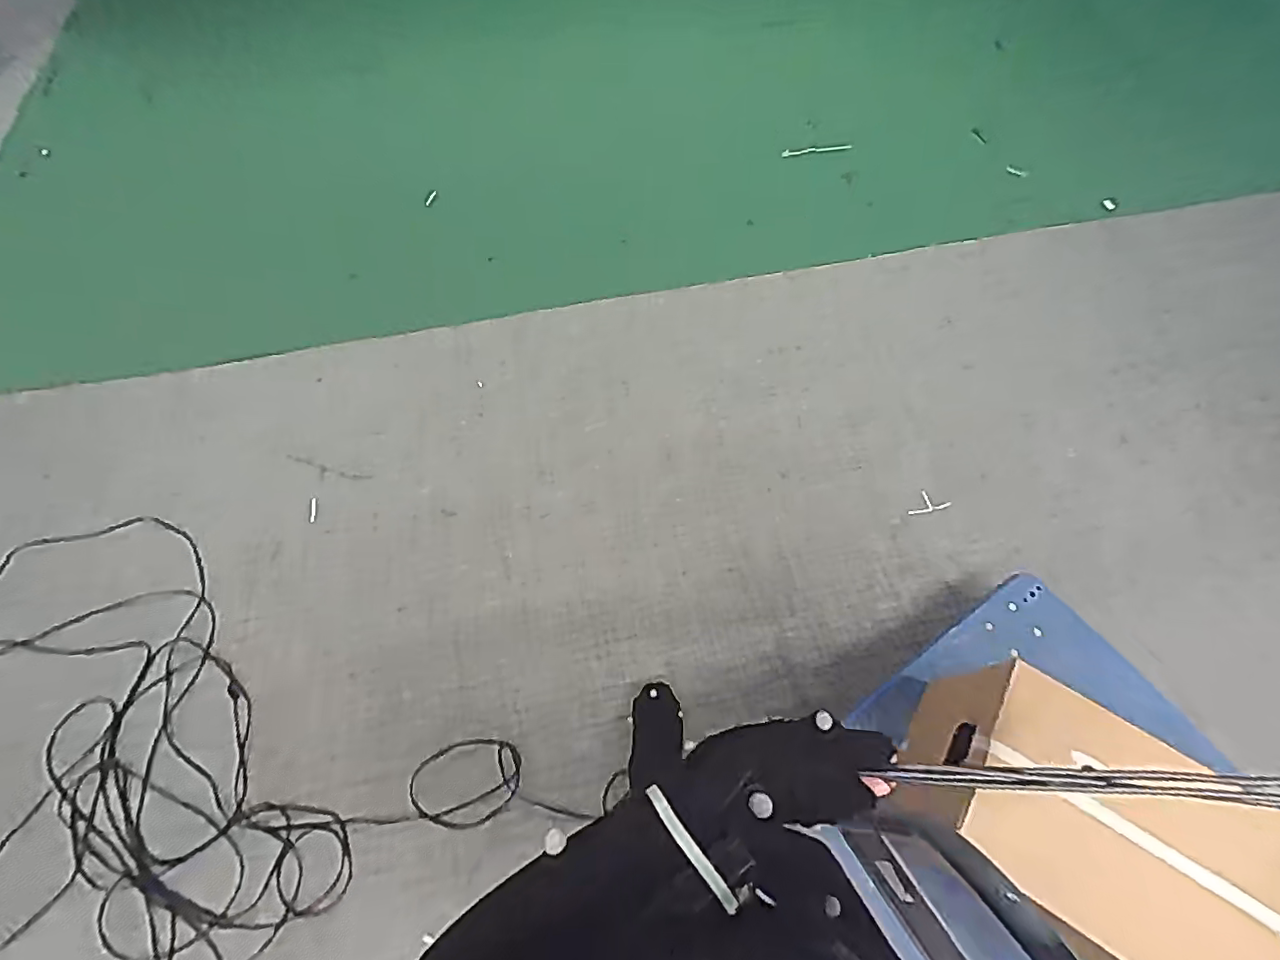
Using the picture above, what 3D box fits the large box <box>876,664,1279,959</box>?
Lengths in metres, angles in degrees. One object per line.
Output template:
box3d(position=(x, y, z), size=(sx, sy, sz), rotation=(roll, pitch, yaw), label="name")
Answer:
box3d(position=(0.701, 0.580, 0.924), size=(0.408, 0.320, 0.320), rotation=(31, 66, 16), label="large box")
